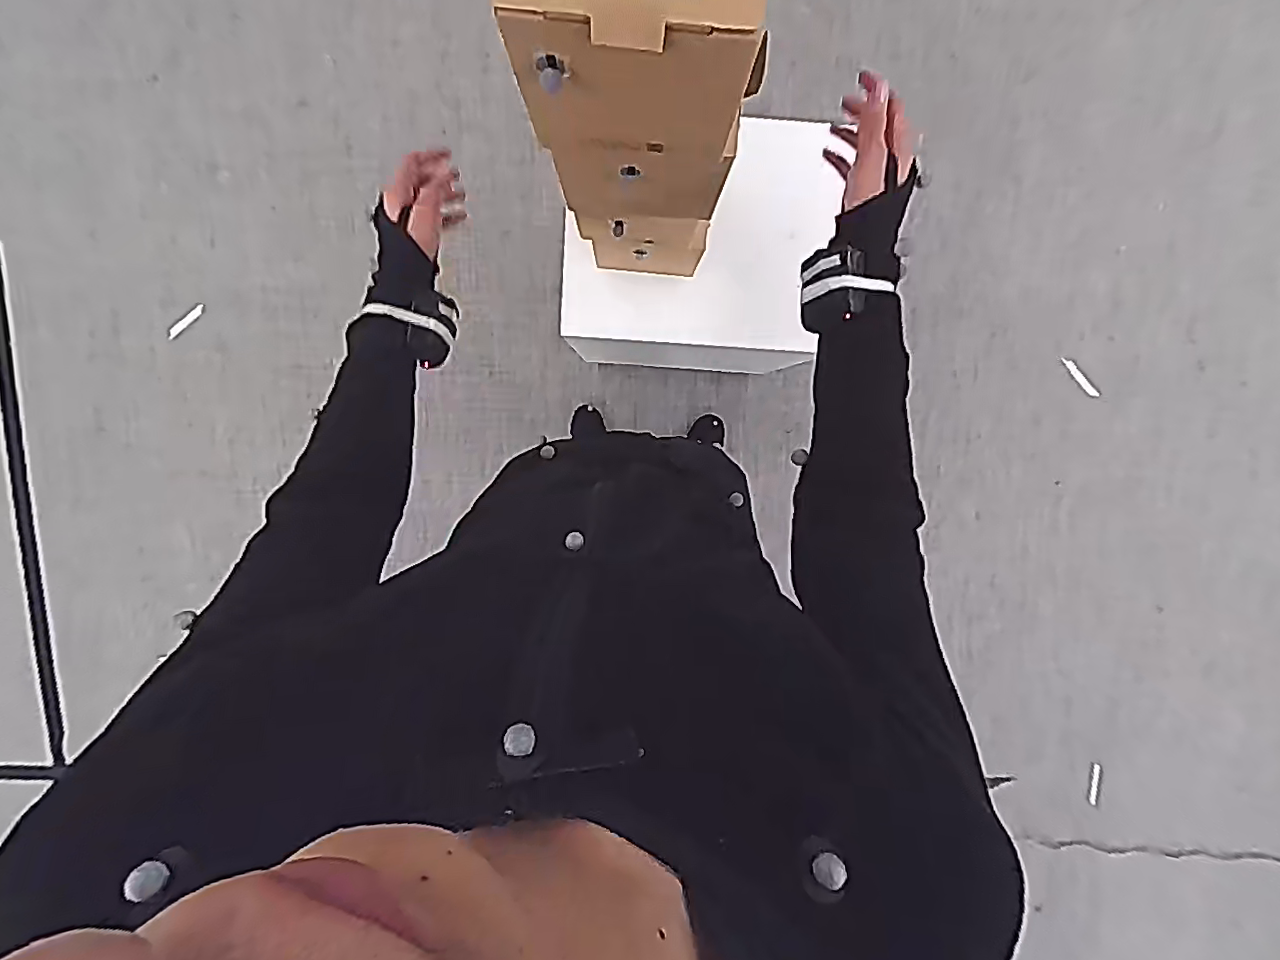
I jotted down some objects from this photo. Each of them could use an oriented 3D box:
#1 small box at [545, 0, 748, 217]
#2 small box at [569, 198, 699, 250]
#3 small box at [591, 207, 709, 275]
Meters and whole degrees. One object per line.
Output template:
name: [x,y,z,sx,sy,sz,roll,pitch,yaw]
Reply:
small box: [0.005,-0.390,0.562,0.179,0.176,0.168,4,98,-2]
small box: [0.004,-0.425,0.723,0.168,0.176,0.179,6,97,-2]
small box: [0.018,-0.445,0.885,0.179,0.176,0.168,5,97,-3]
